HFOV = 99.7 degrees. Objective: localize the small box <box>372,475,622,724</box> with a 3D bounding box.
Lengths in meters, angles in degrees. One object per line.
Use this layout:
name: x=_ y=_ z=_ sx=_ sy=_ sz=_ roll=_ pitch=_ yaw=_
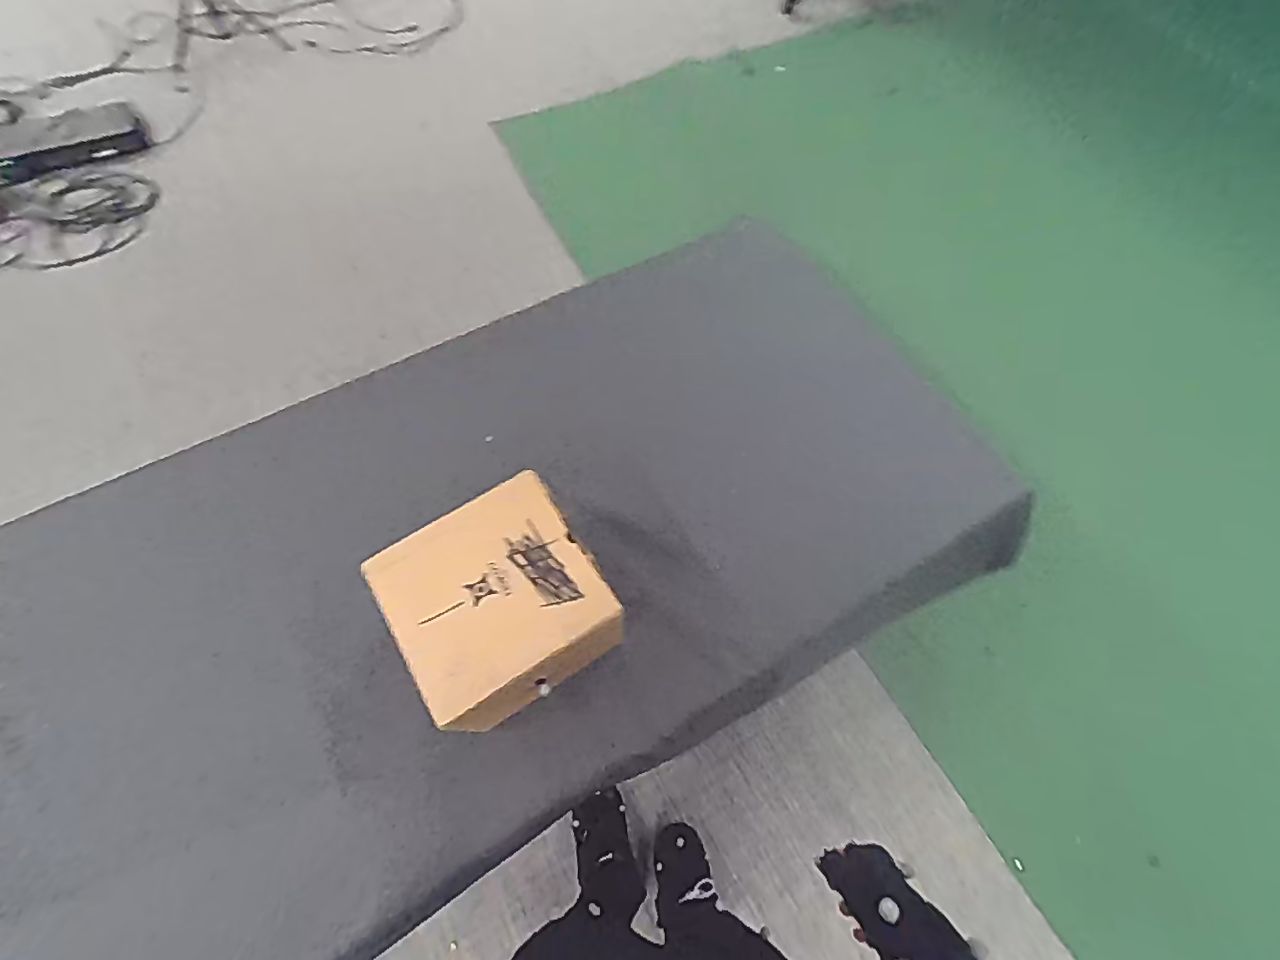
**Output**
small box: x=-0.135 y=0.130 z=0.564 sx=0.179 sy=0.176 sz=0.168 roll=-31 pitch=69 yaw=-15
